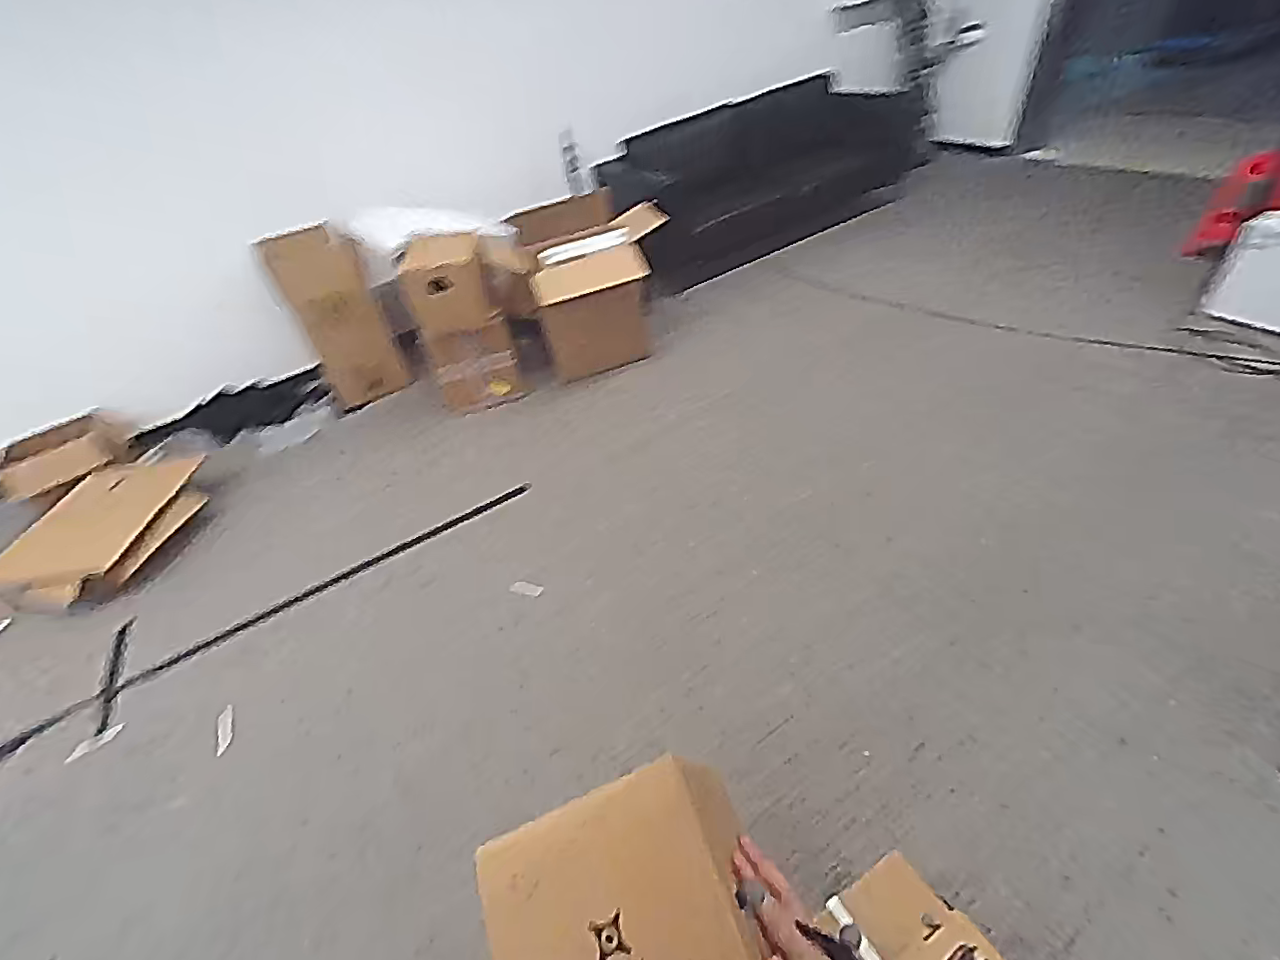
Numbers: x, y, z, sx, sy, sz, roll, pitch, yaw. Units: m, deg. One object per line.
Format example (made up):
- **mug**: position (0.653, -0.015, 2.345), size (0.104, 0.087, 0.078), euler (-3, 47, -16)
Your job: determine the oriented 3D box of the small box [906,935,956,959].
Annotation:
- **small box**: position (0.409, 0.786, 0.741), size (0.168, 0.176, 0.179), euler (-29, 45, -17)
